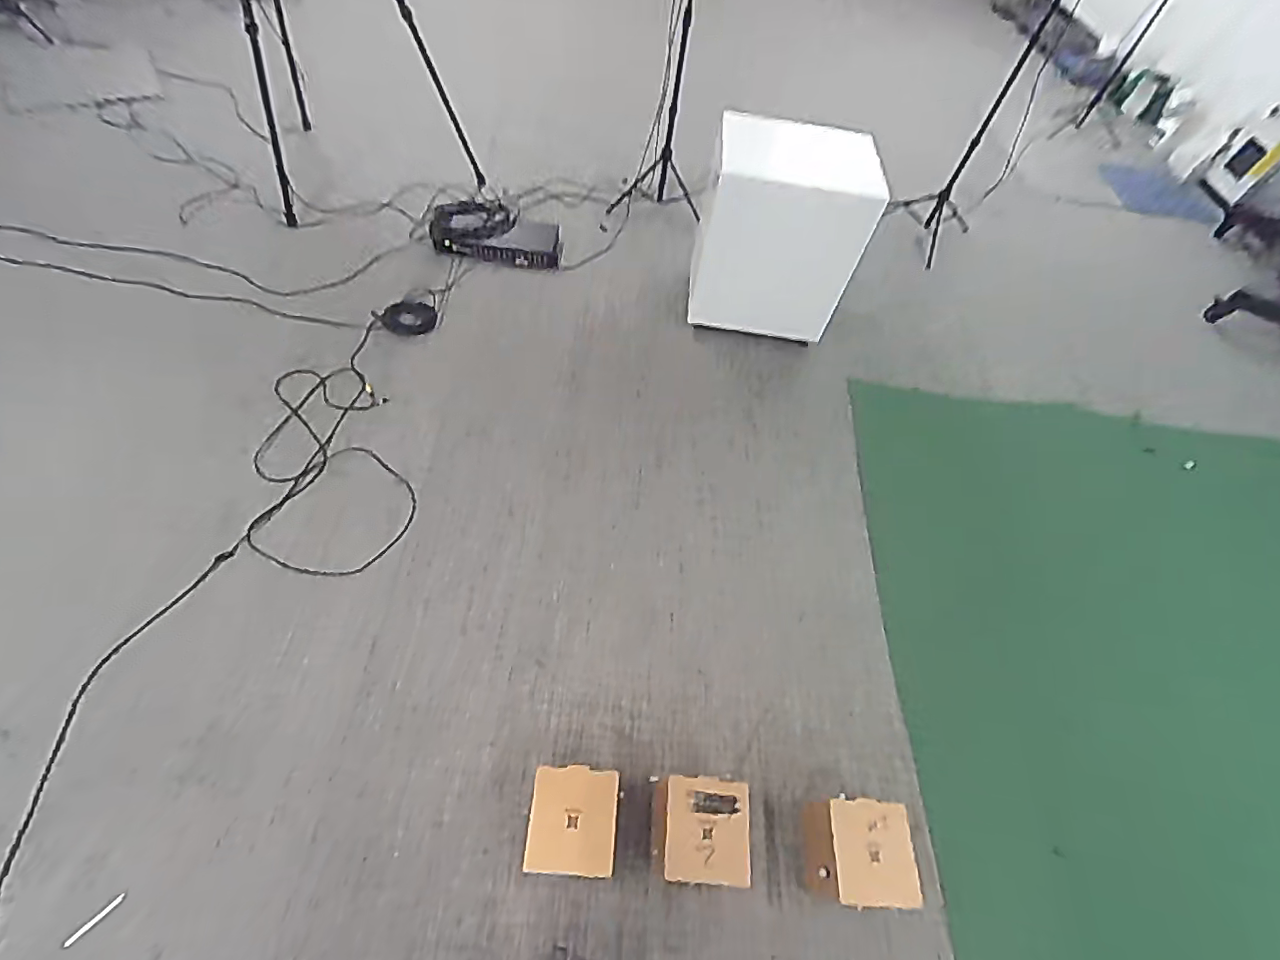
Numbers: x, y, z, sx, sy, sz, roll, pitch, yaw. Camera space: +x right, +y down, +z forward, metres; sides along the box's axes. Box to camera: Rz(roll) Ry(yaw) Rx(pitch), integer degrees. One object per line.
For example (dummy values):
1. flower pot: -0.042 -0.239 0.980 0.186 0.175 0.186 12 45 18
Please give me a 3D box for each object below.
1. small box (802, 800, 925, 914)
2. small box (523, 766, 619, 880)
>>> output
1. small box: 0.450 0.772 1.119 0.168 0.176 0.179 7 56 -4
2. small box: -0.134 0.689 1.089 0.168 0.176 0.179 6 56 -4
